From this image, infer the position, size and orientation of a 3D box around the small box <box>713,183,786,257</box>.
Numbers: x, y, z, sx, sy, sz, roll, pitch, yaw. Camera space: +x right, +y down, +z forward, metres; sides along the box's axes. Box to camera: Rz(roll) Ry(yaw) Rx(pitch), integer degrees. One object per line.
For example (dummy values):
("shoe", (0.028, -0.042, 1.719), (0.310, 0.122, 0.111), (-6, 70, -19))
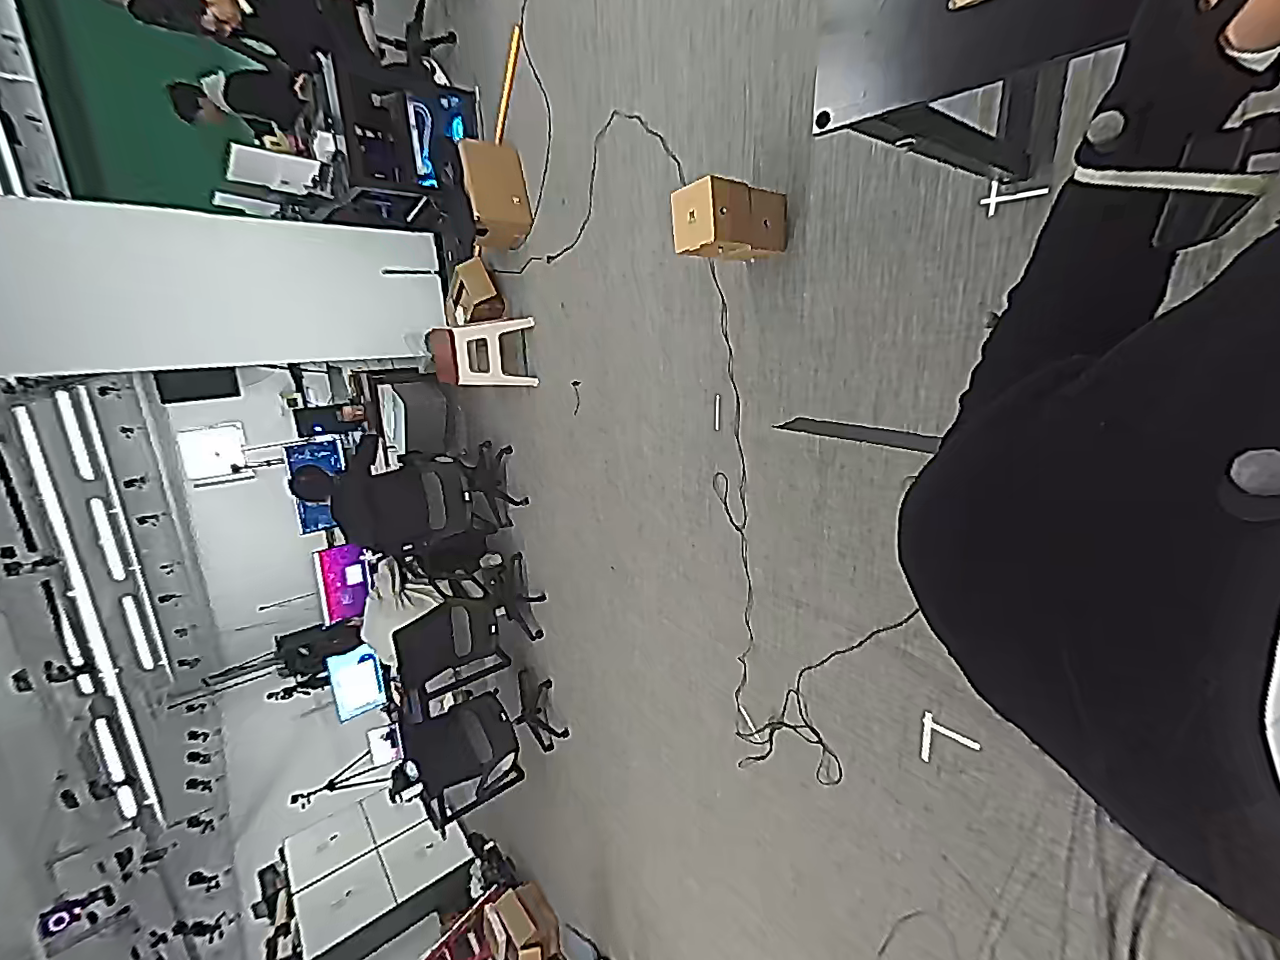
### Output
("small box", (0.345, -0.813, 1.709), (0.168, 0.176, 0.179), (12, 112, 50))

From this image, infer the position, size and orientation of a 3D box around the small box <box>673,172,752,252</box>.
("small box", (0.218, -0.788, 1.610), (0.168, 0.176, 0.179), (8, 107, 50))
